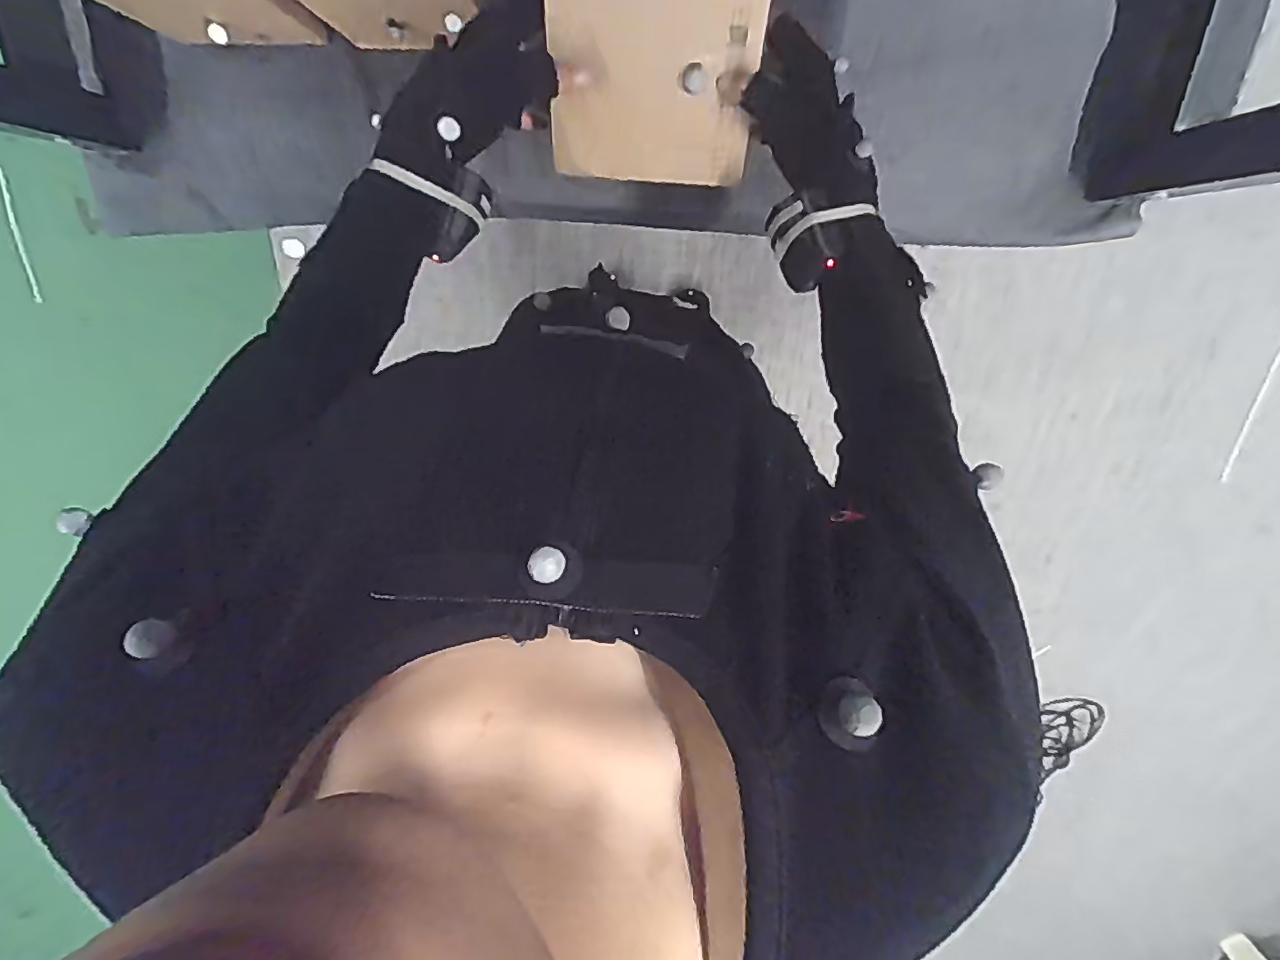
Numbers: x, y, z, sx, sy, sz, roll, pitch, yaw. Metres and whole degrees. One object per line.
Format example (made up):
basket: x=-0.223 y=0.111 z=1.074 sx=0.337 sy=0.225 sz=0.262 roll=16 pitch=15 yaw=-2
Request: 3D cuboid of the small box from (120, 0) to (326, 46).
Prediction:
small box: x=-0.415 y=-0.525 z=0.477 sx=0.168 sy=0.176 sz=0.179 roll=2 pitch=111 yaw=3

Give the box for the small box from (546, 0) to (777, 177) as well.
small box: x=0.015 y=-0.380 z=0.472 sx=0.176 sy=0.179 sz=0.168 roll=2 pitch=137 yaw=-1
